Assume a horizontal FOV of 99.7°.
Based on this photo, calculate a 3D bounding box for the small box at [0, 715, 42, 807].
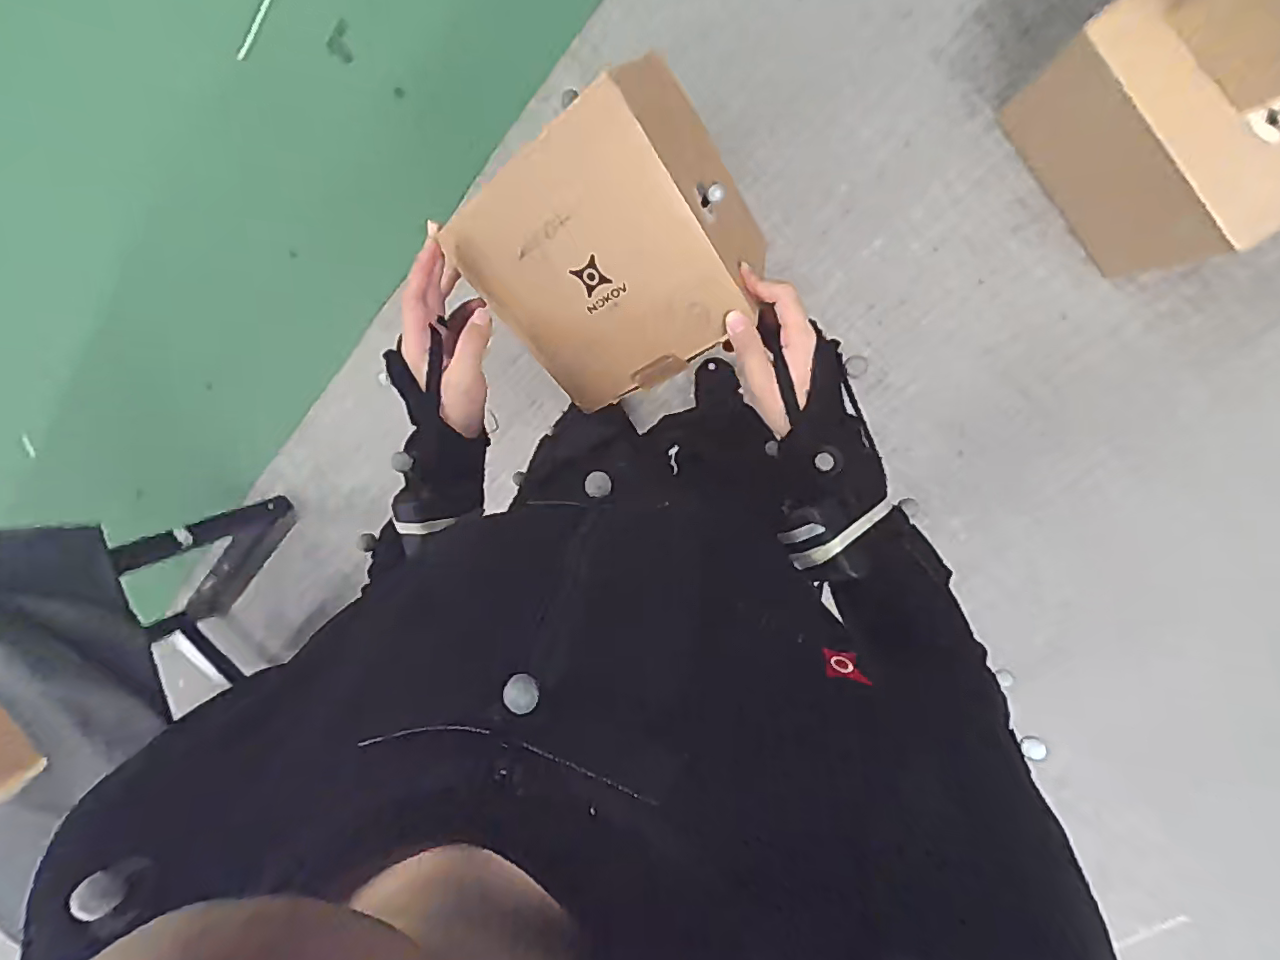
[{"bbox_3d":[-1.167,0.502,0.890,0.168,0.176,0.179,-37,93,18],"label":"small box"}]

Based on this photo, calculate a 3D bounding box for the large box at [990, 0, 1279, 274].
[{"bbox_3d":[0.891,-0.616,0.890,0.320,0.320,0.408,-38,94,18],"label":"large box"}]
